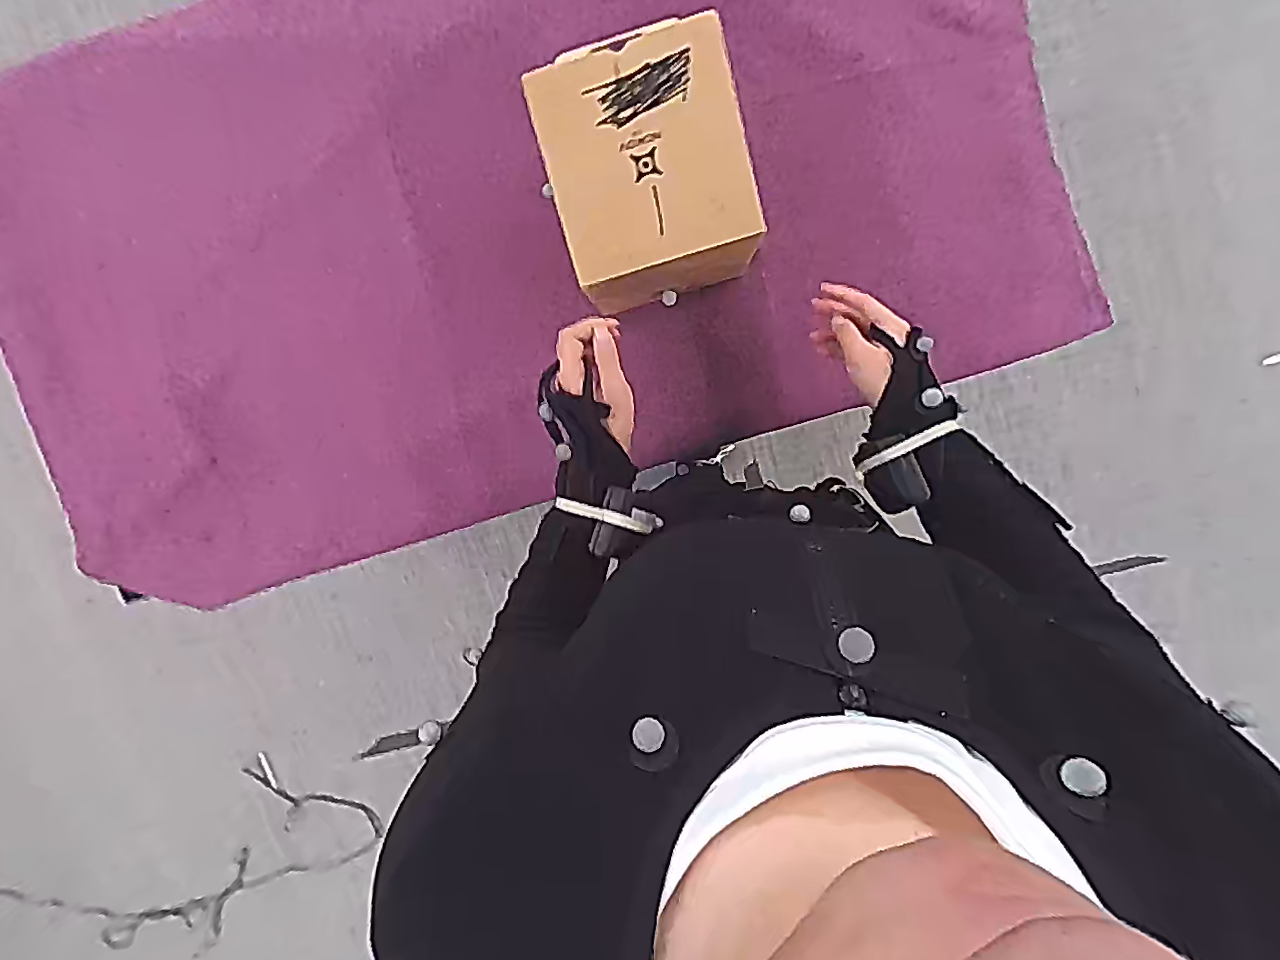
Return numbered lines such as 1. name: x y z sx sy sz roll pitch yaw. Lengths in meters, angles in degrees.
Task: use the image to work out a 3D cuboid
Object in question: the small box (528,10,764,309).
1. small box: 0.009 -0.285 0.527 0.168 0.176 0.179 -15 98 6
